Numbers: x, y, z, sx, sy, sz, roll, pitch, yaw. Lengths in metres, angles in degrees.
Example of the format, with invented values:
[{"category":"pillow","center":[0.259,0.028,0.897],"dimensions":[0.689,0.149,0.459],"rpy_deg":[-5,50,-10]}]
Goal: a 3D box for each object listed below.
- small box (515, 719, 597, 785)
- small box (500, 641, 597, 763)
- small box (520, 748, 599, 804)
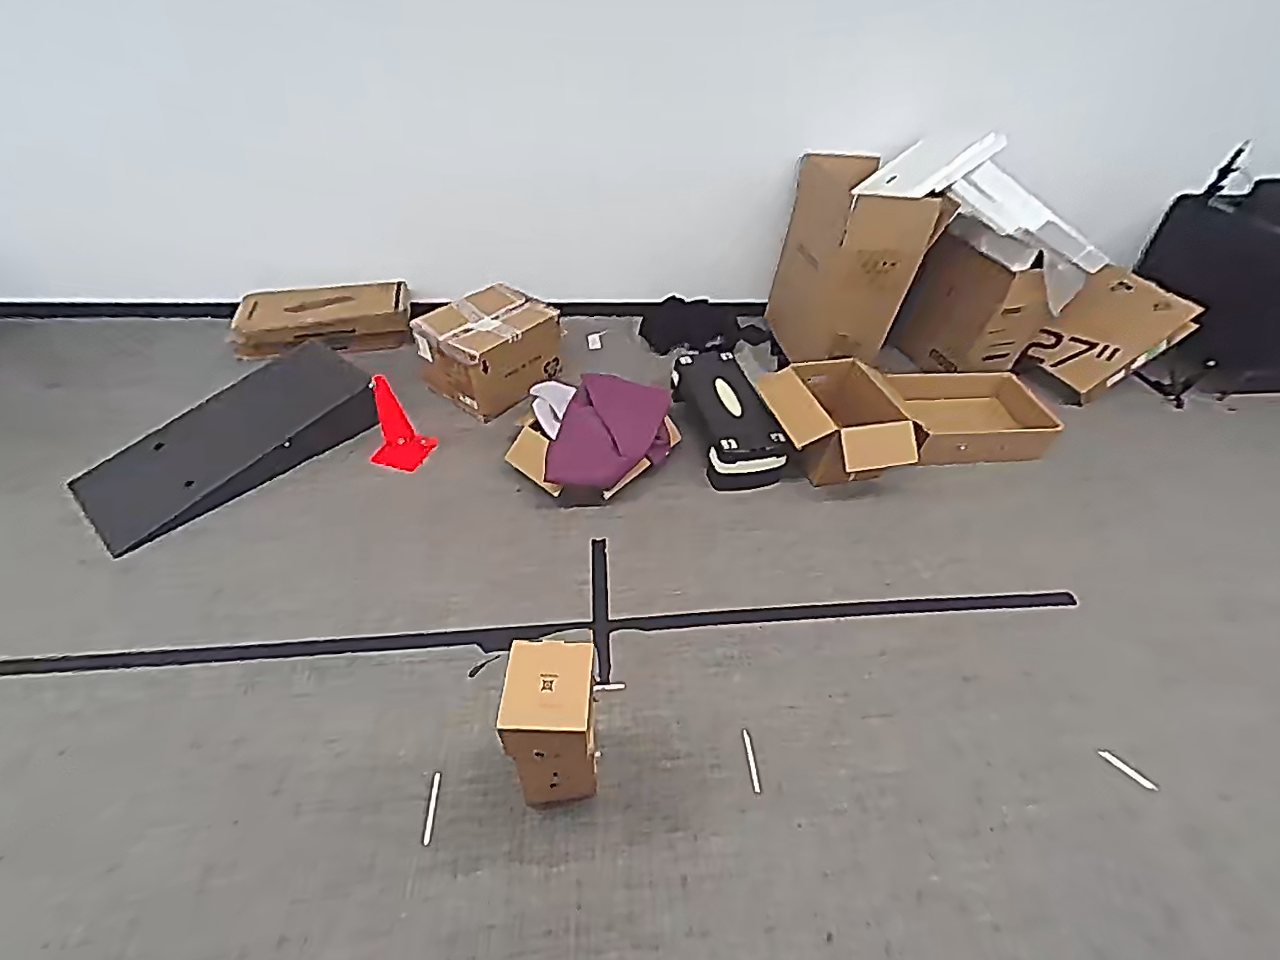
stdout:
[{"category":"small box","center":[-0.181,0.552,1.199],"dimensions":[0.168,0.176,0.179],"rpy_deg":[-2,46,-6]},{"category":"small box","center":[-0.173,0.442,1.078],"dimensions":[0.168,0.176,0.179],"rpy_deg":[2,46,-1]},{"category":"small box","center":[-0.194,0.668,1.315],"dimensions":[0.179,0.176,0.168],"rpy_deg":[-4,46,-9]}]
